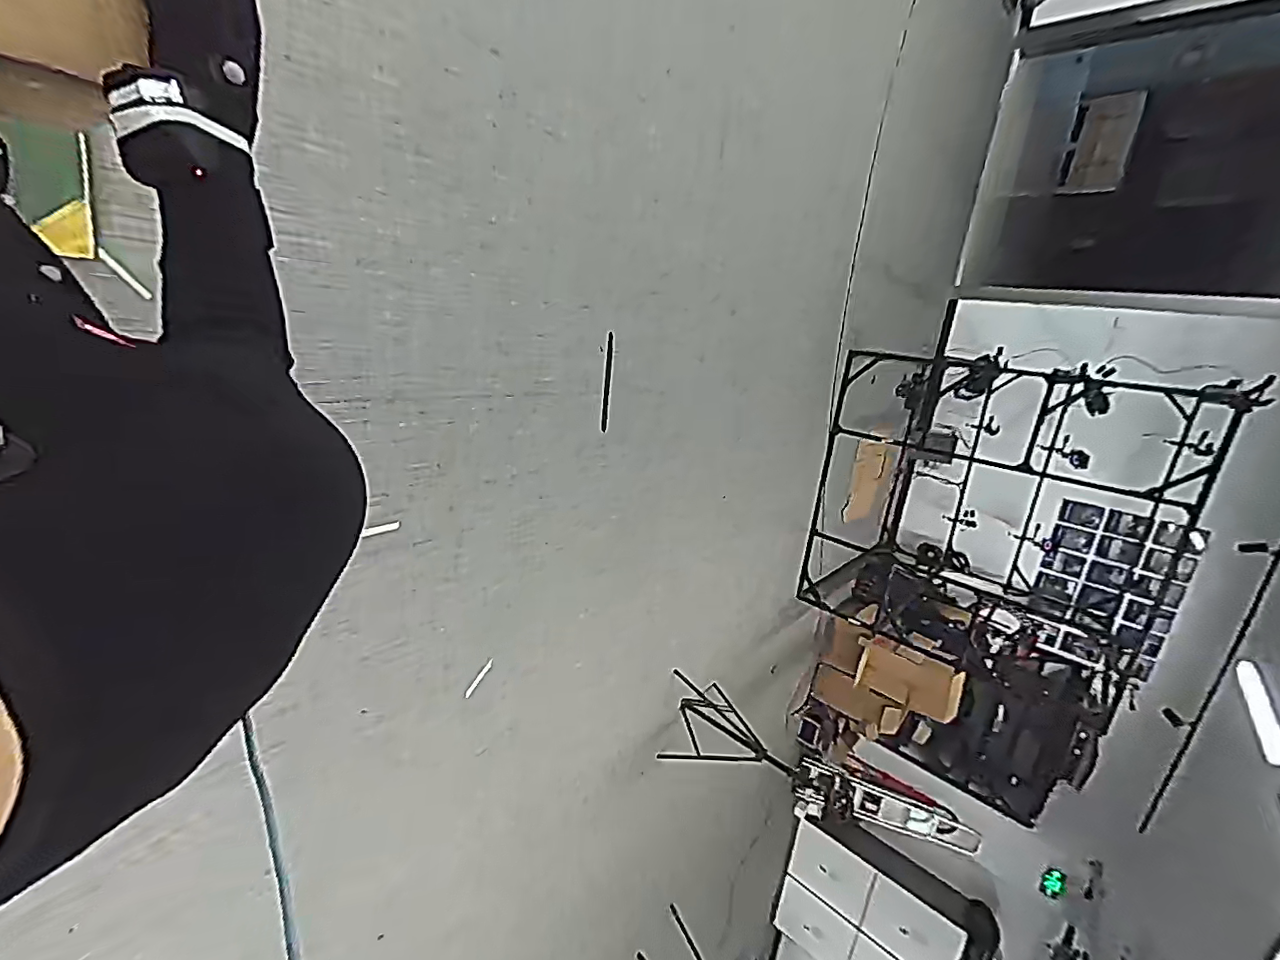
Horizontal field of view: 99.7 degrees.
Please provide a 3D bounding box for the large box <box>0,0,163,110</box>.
[{"bbox_3d":[-0.589,-0.465,0.300,0.408,0.320,0.320,-15,119,-53],"label":"large box"}]
